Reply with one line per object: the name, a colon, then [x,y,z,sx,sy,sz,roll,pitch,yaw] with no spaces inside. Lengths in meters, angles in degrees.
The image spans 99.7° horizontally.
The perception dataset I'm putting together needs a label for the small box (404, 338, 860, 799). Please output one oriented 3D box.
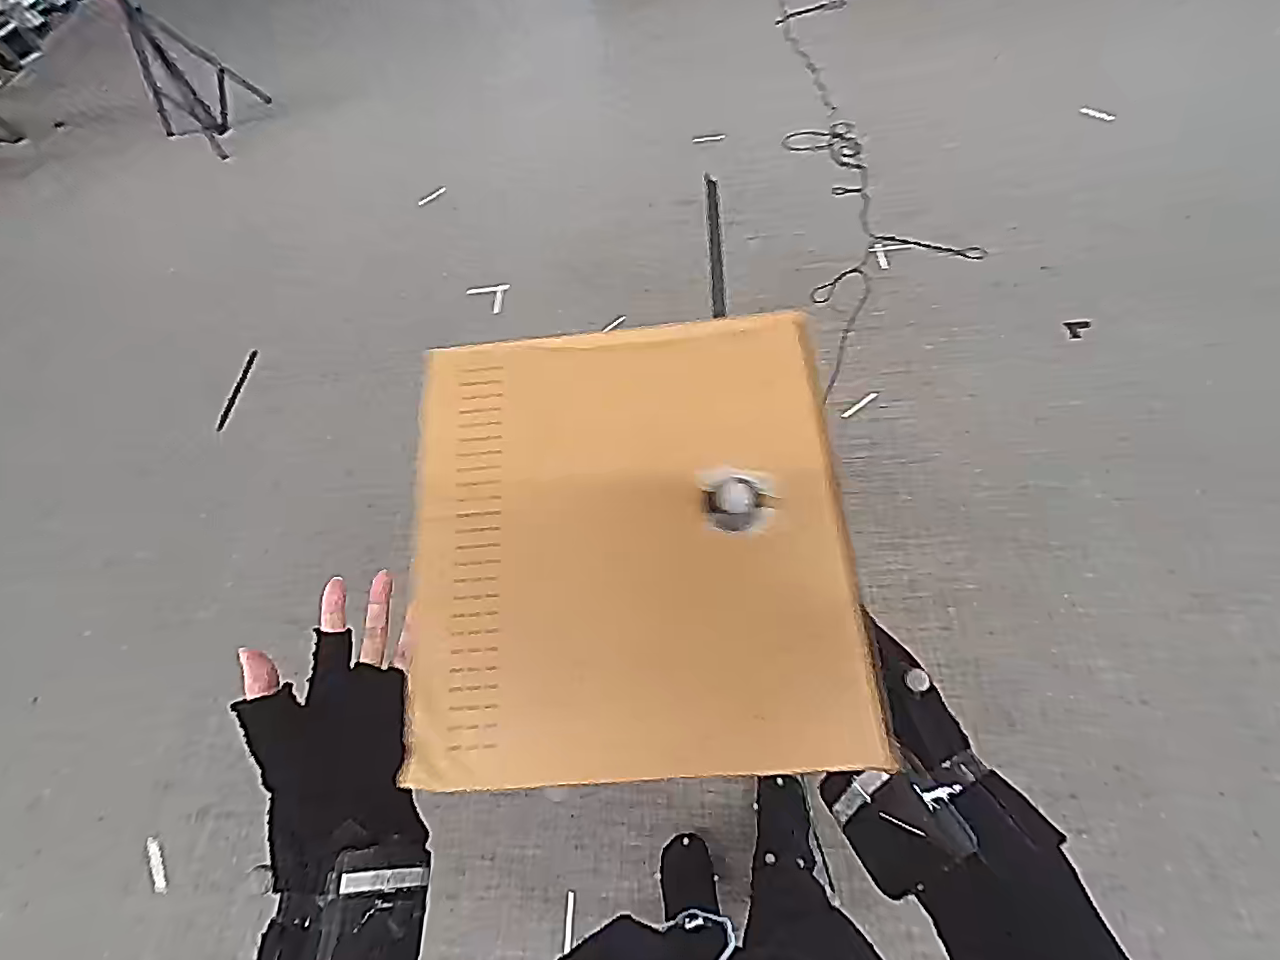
small box: [-0.006,0.051,0.290,0.176,0.168,0.179,-6,71,5]
